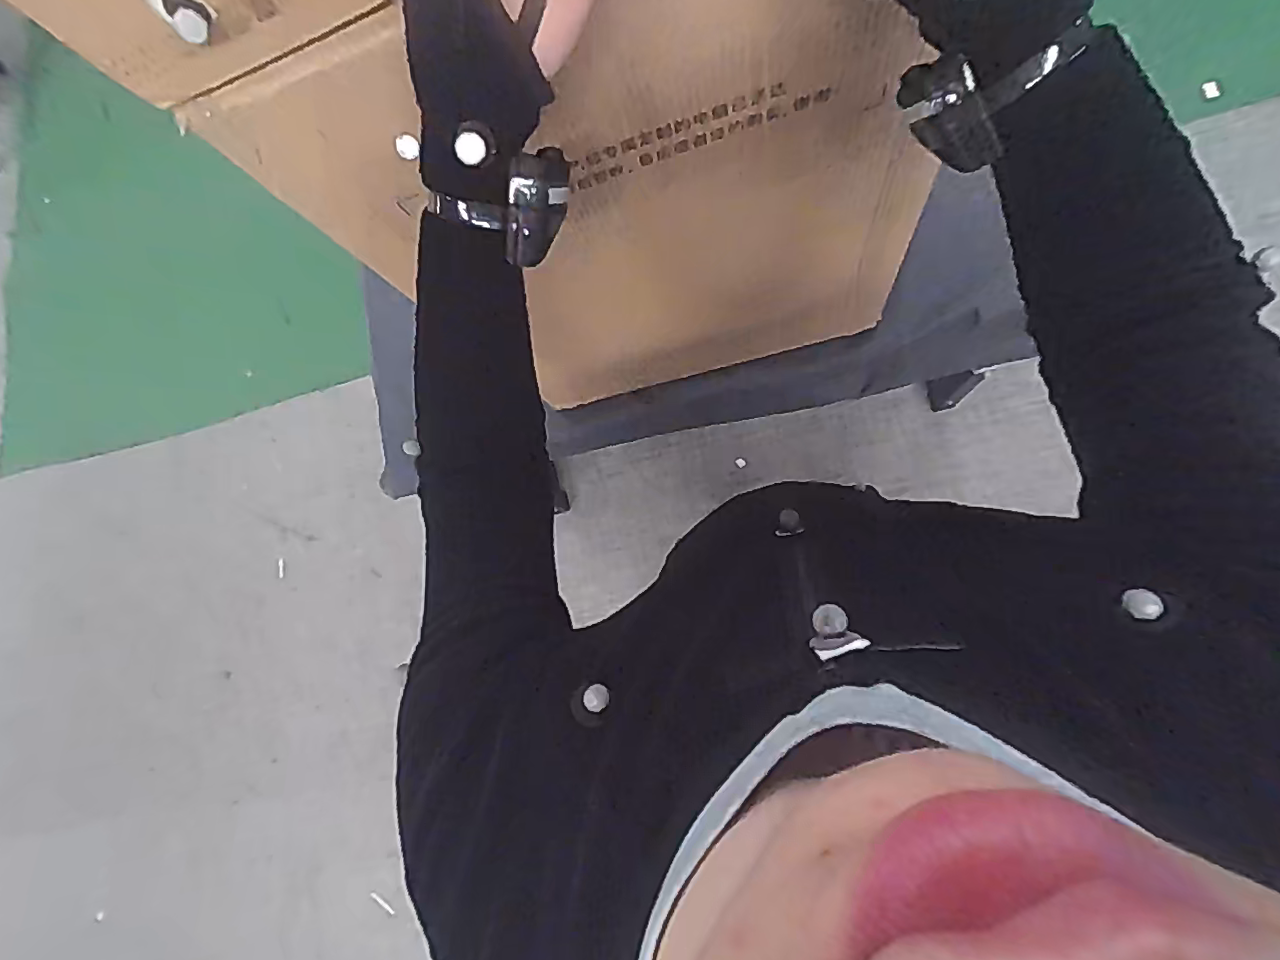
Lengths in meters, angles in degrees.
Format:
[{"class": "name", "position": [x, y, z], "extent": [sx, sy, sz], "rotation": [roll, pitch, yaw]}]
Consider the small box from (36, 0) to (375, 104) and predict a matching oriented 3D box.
[{"class": "small box", "position": [-0.250, -0.336, 0.253], "extent": [0.168, 0.176, 0.179], "rotation": [-16, 78, 13]}]
